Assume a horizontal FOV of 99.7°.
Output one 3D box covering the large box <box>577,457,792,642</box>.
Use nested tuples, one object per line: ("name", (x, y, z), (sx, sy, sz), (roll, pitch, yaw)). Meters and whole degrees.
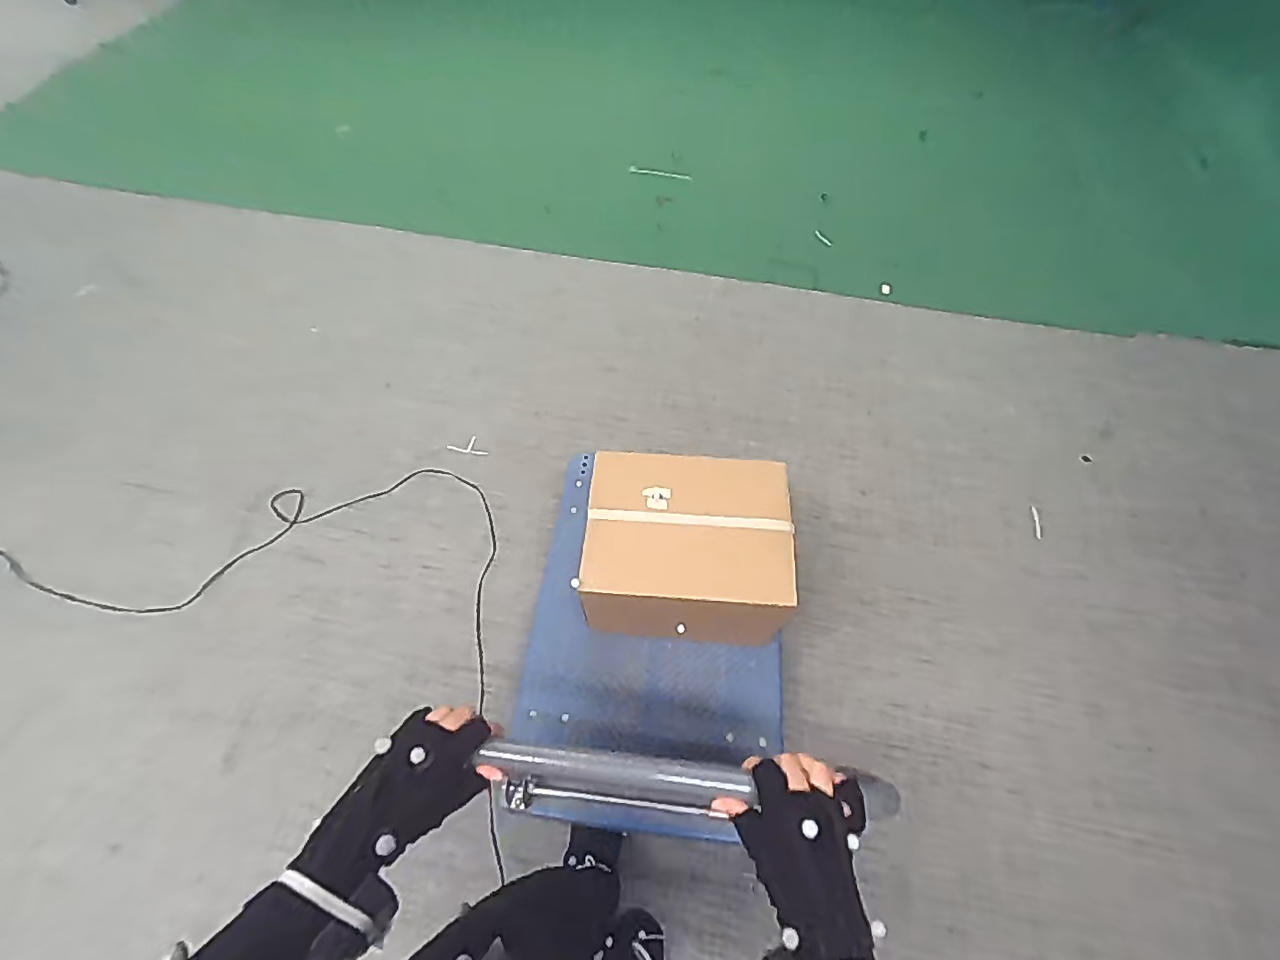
("large box", (0.094, 0.164, 1.198), (0.408, 0.320, 0.320), (3, 59, 3))
